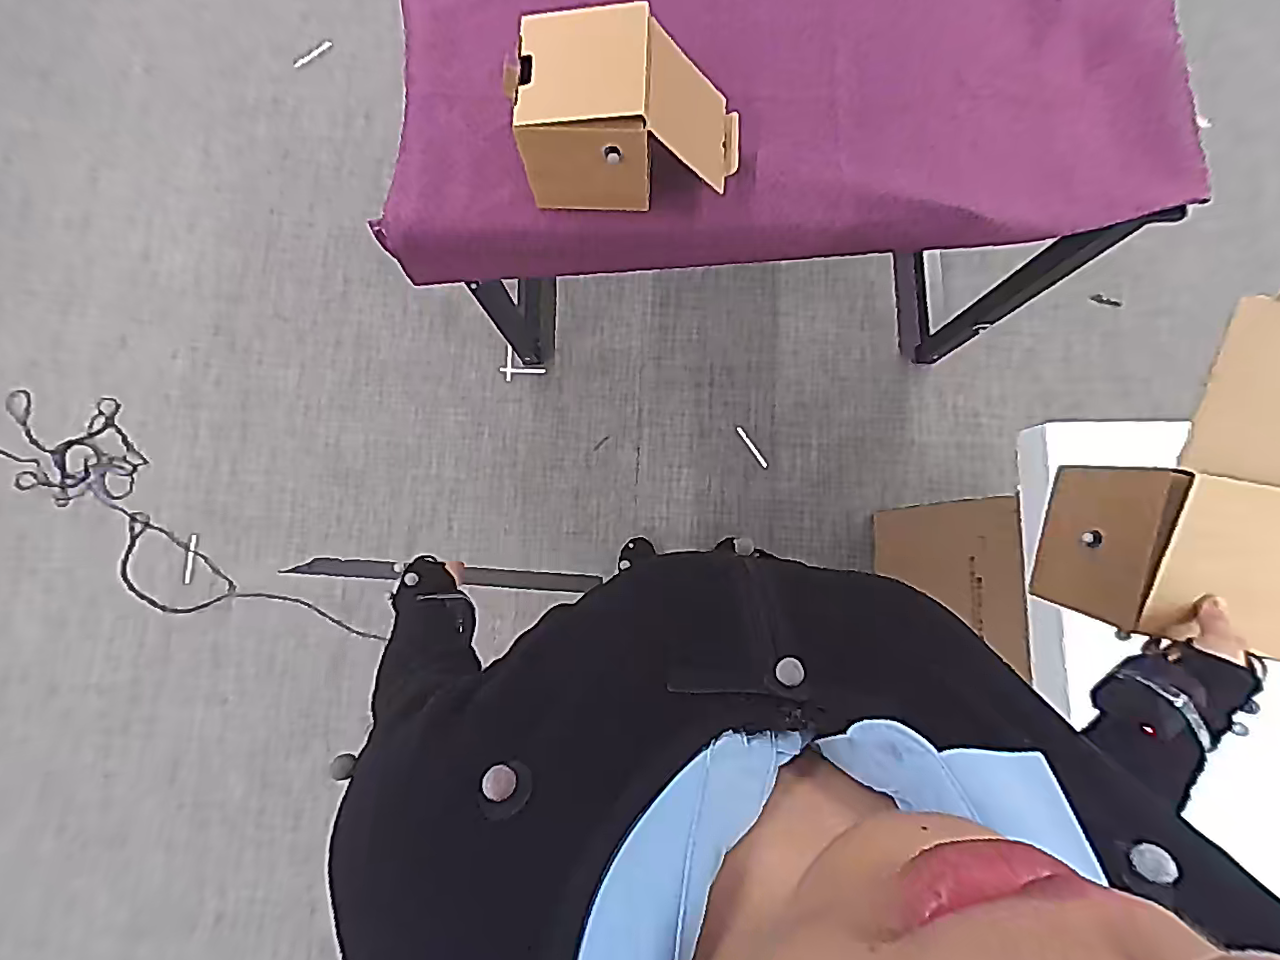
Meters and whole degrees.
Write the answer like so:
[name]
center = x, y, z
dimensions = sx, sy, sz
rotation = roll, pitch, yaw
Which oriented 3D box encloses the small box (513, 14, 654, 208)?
[small box]
center = -0.071, -0.519, 0.782
dimensions = 0.179, 0.176, 0.168
rotation = 2, 81, 2
